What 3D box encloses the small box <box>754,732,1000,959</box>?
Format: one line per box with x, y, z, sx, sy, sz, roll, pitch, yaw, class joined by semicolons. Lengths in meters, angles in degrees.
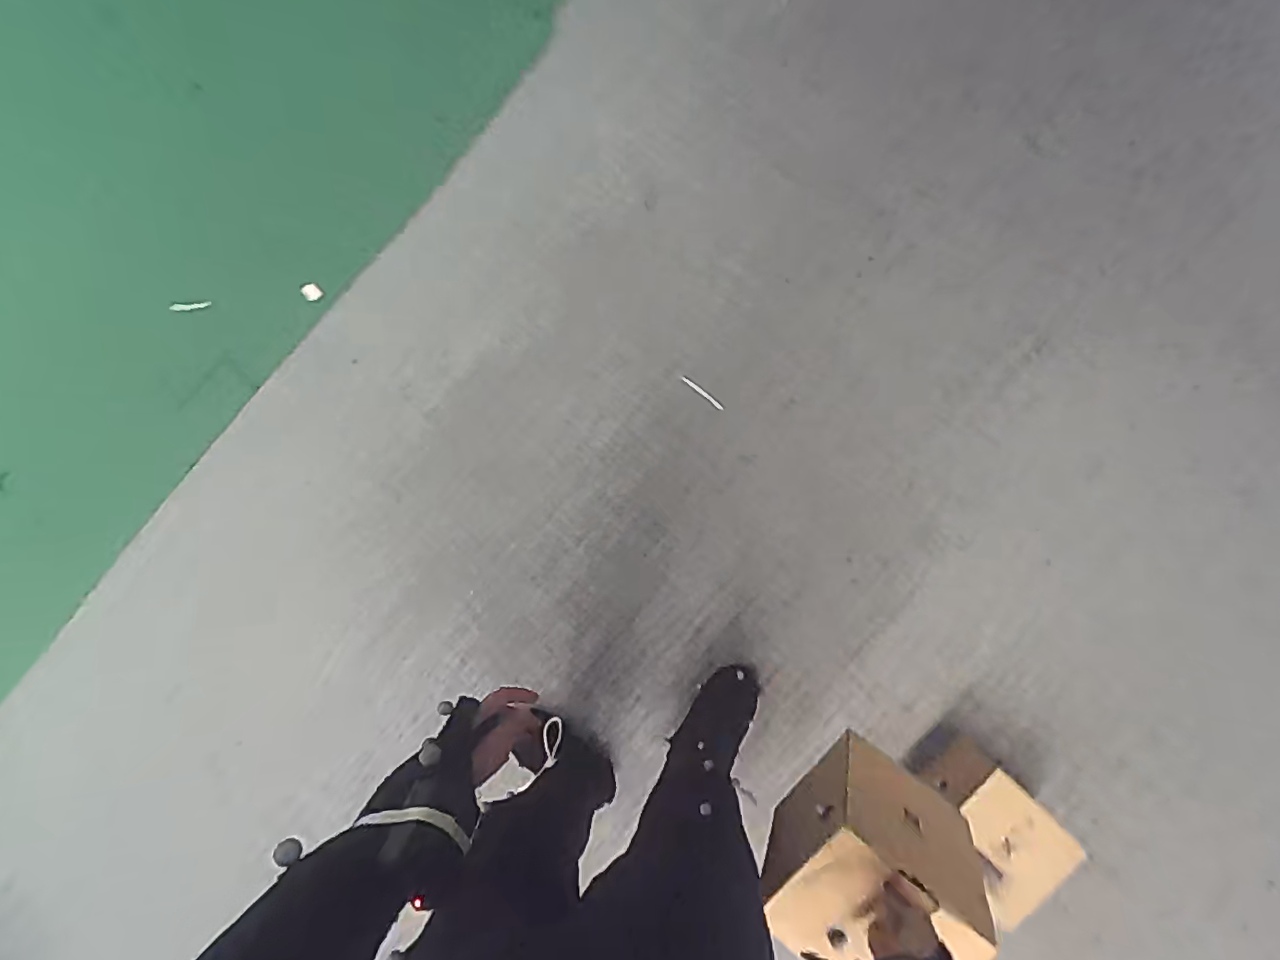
0.249;0.436;0.604;0.168;0.179;0.176;36;110;13;small box
